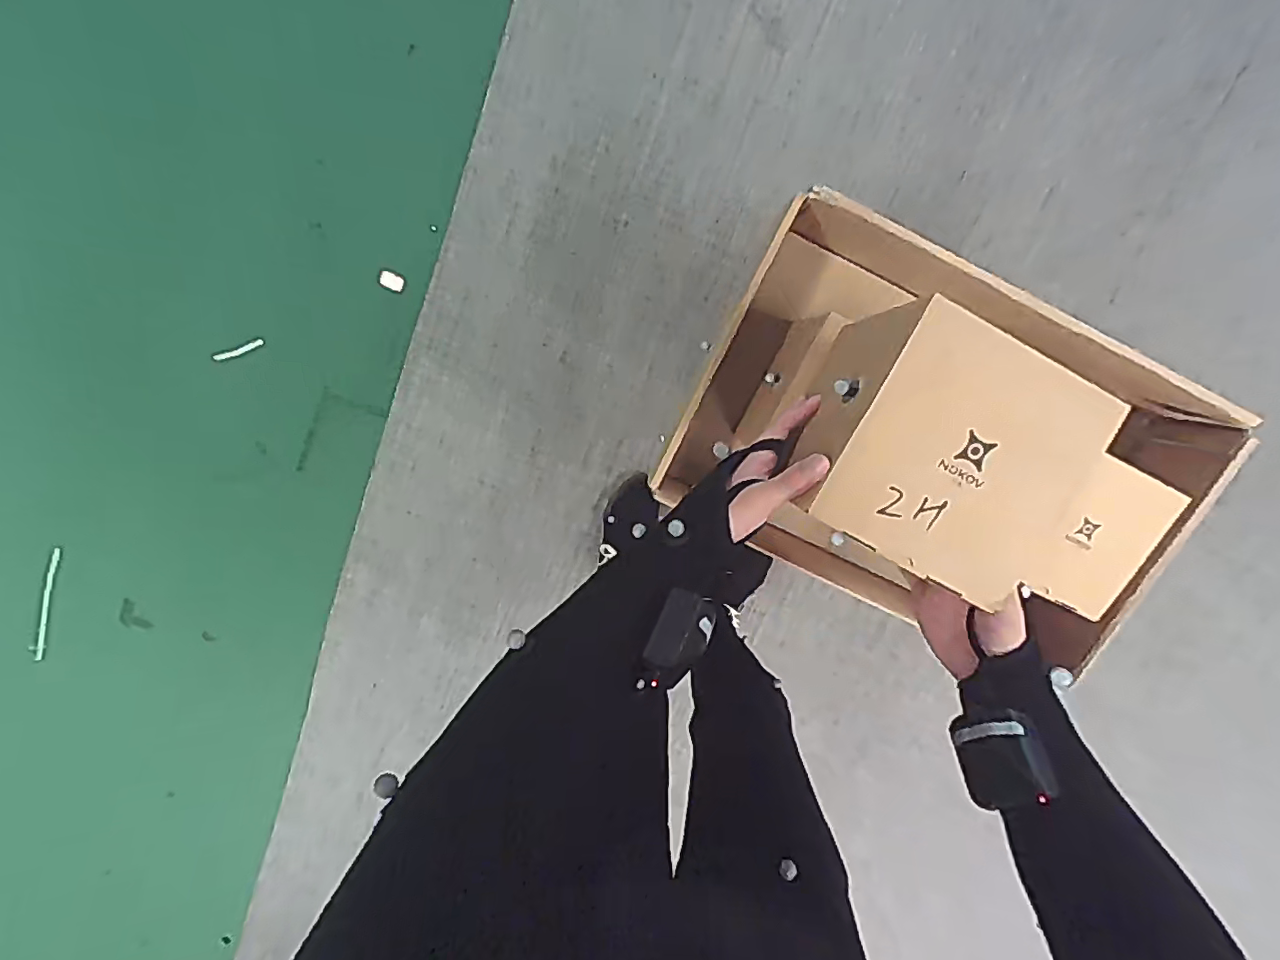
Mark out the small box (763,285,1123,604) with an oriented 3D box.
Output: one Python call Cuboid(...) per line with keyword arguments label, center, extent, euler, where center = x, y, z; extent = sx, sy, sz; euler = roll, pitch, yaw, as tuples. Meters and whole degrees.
Cuboid(label="small box", center=(0.224, -0.033, 0.458), extent=(0.168, 0.176, 0.179), euler=(28, 99, -4))
